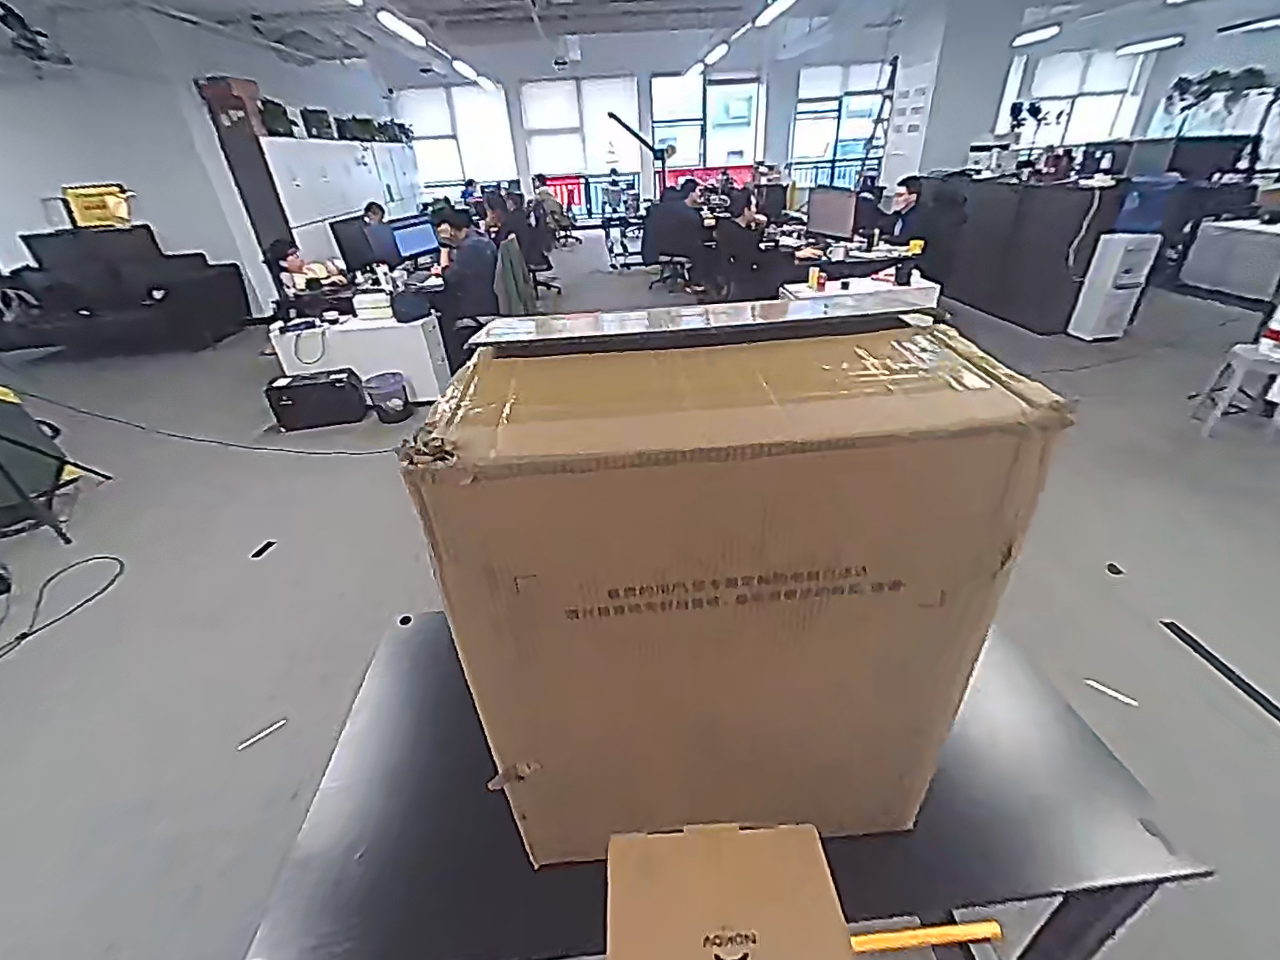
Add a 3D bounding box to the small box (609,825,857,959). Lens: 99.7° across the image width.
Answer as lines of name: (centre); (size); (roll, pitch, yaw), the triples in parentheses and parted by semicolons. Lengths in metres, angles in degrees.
small box: (0.060, 0.385, 0.388); (0.168, 0.176, 0.179); (-2, 30, -2)
